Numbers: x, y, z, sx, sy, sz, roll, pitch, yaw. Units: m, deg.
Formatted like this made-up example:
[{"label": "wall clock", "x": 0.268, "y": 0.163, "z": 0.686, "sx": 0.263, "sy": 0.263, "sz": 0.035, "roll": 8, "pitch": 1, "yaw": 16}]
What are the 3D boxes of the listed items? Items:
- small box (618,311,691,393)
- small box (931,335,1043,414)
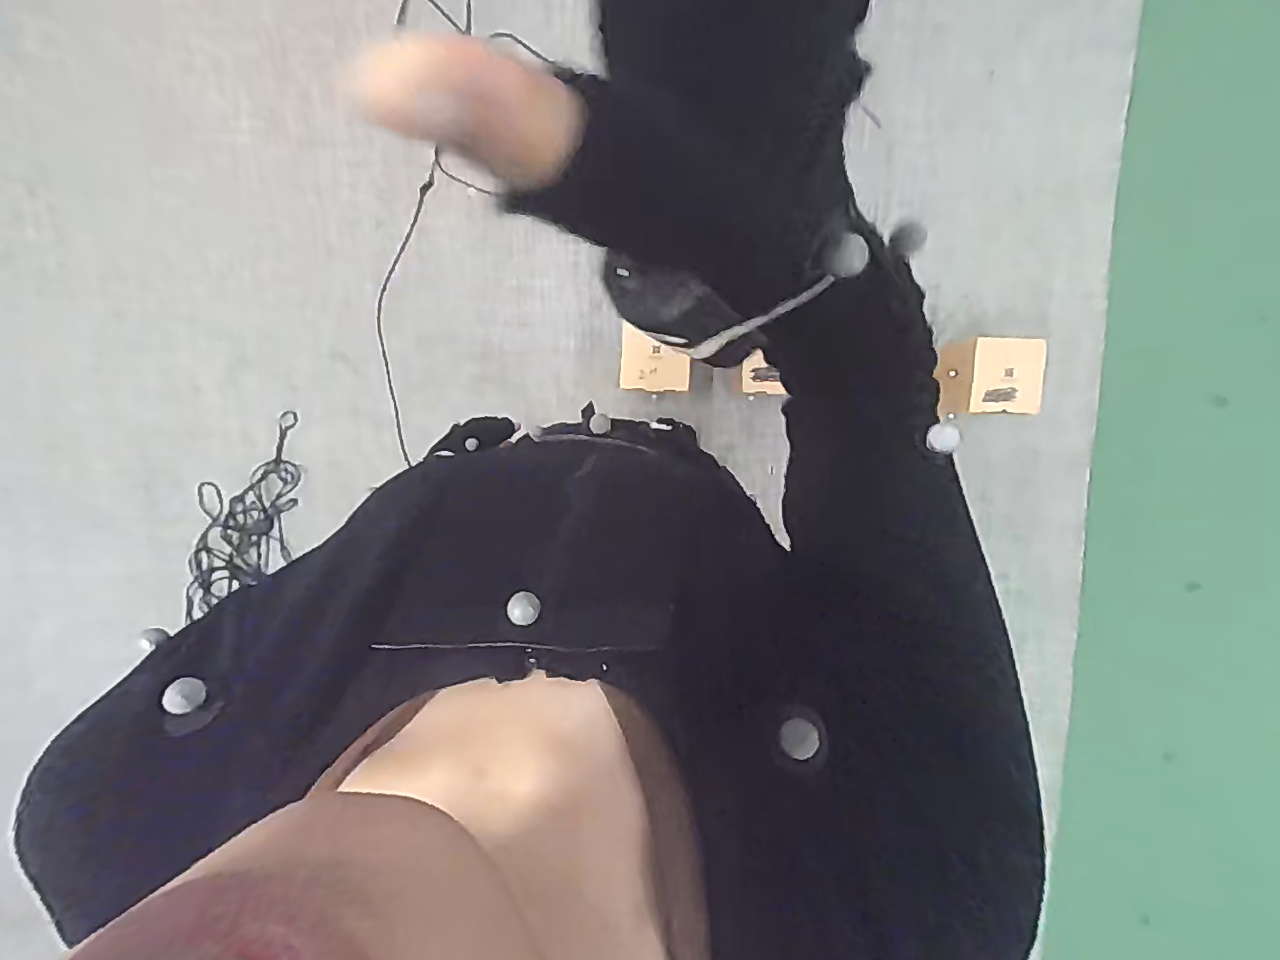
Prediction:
[{"label": "small box", "x": 0.035, "y": -0.315, "z": 1.355, "sx": 0.168, "sy": 0.176, "sz": 0.179, "roll": 3, "pitch": 97, "yaw": 2}, {"label": "small box", "x": 0.850, "y": -0.255, "z": 1.342, "sx": 0.168, "sy": 0.176, "sz": 0.179, "roll": 3, "pitch": 96, "yaw": 1}]
